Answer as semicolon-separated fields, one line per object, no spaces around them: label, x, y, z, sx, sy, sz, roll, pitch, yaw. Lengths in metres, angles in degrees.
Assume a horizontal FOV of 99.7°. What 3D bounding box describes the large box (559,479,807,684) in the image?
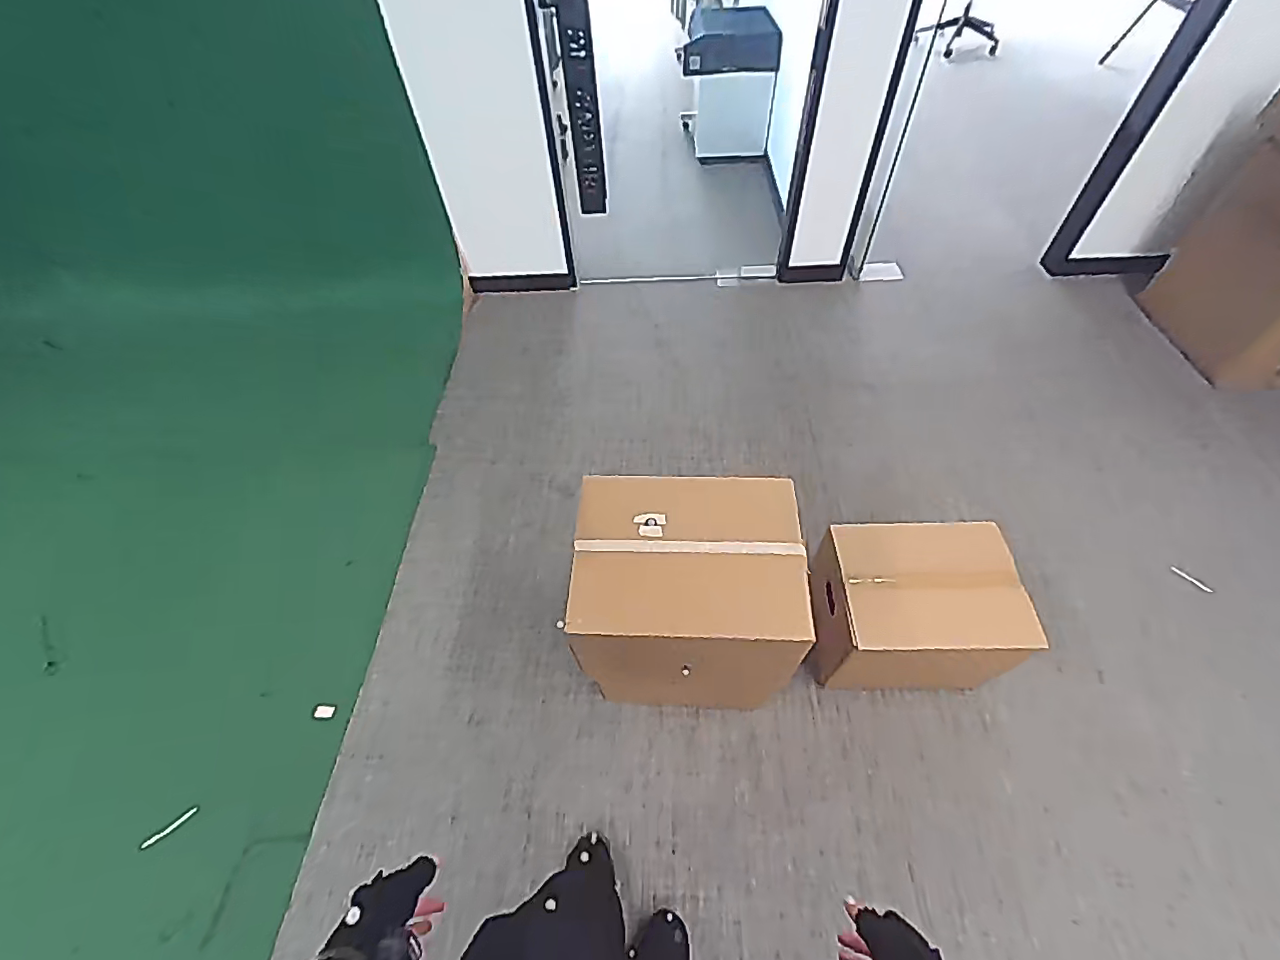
large box;0.082;0.208;1.069;0.408;0.320;0.320;1;56;4
